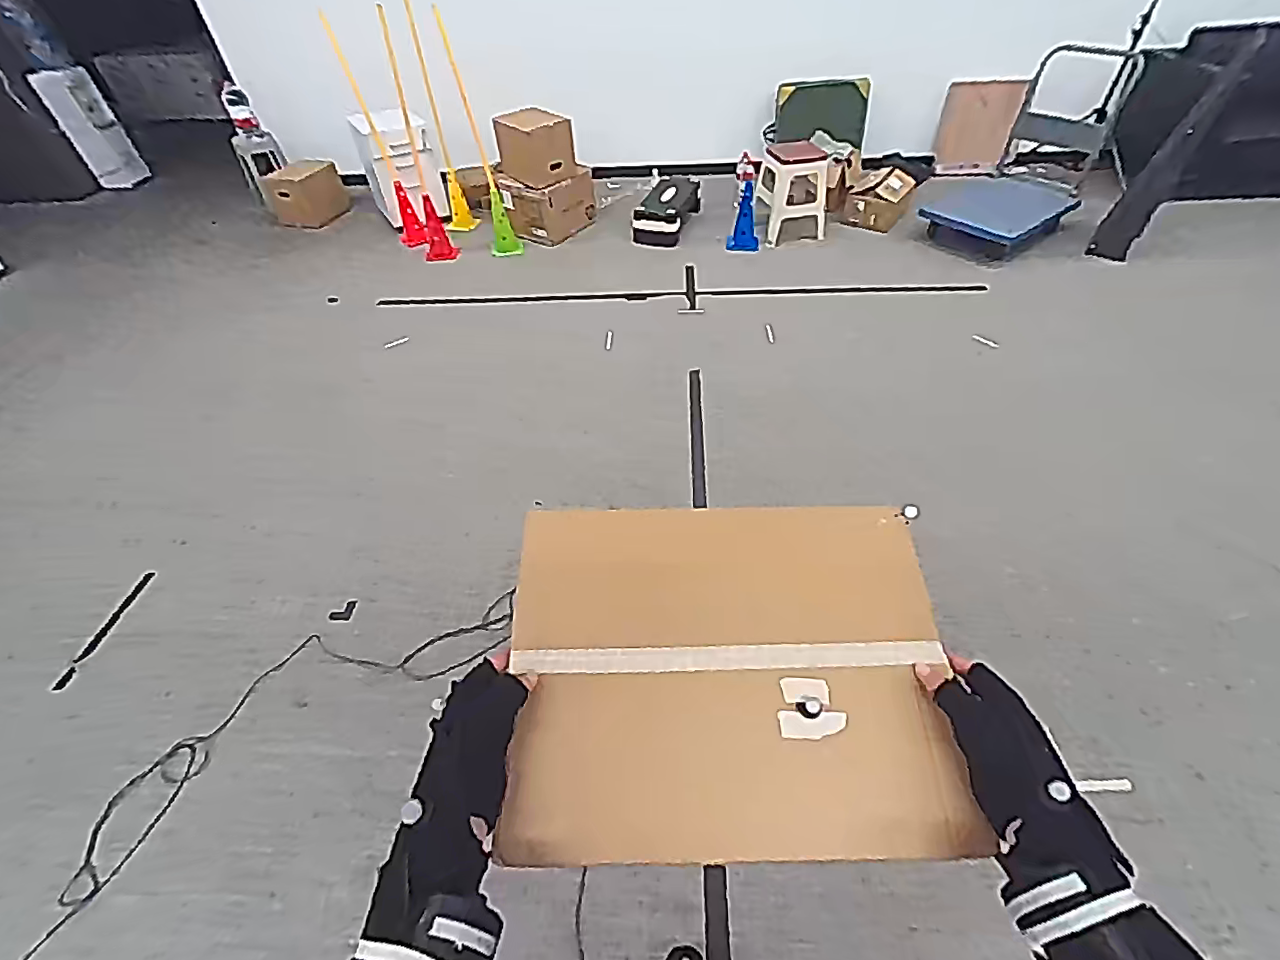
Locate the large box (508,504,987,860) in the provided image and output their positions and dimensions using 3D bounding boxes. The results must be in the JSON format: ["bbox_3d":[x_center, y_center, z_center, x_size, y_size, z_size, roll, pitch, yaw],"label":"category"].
[{"bbox_3d":[0.082,0.239,0.641,0.408,0.320,0.320,-1,60,-1],"label":"large box"}]
